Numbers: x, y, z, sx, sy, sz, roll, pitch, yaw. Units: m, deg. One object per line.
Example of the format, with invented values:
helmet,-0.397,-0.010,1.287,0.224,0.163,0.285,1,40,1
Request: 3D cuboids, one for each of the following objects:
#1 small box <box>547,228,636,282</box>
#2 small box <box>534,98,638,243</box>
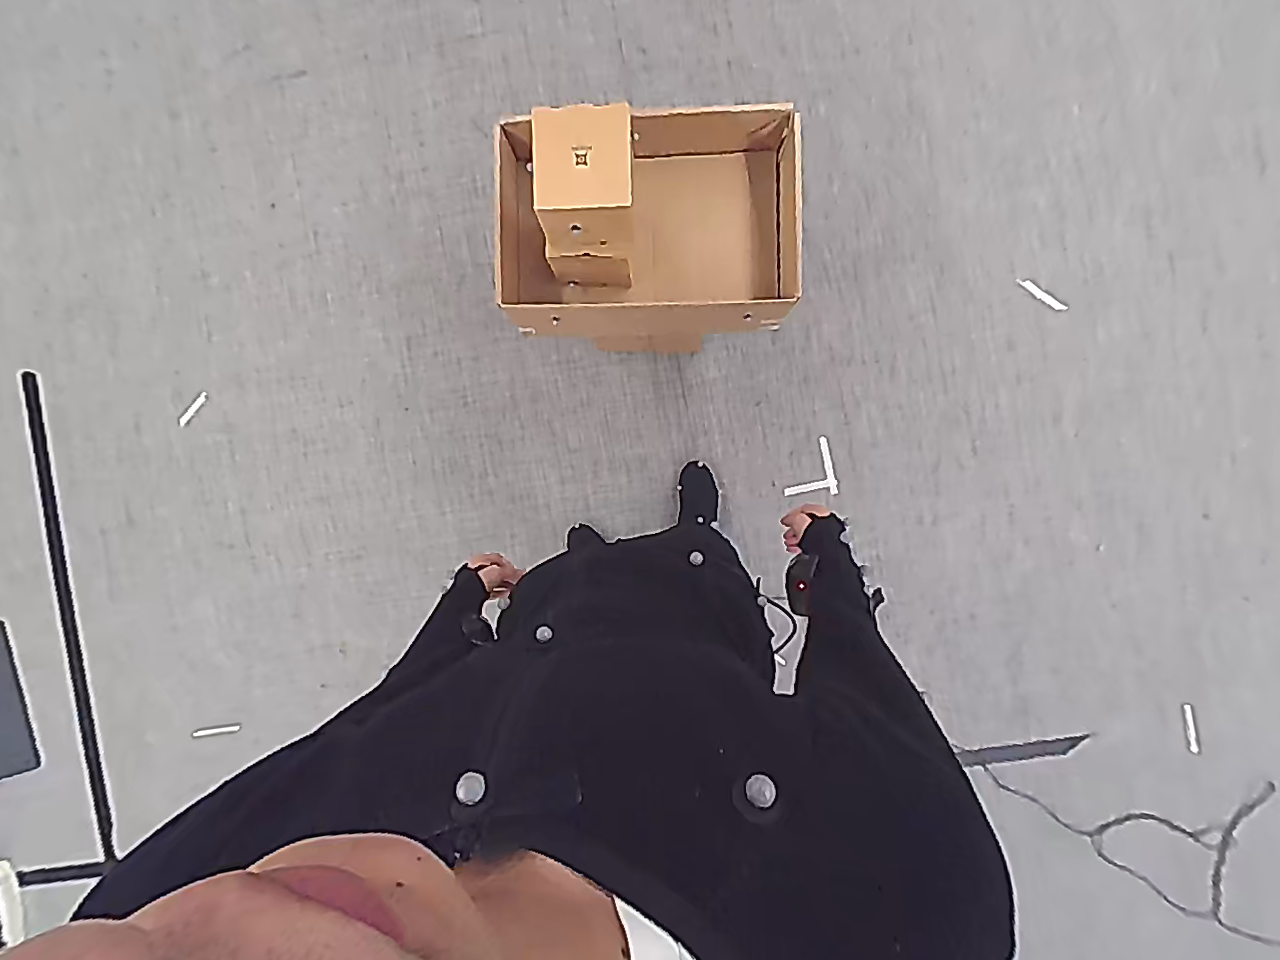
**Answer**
small box,-0.094,-0.530,1.136,0.168,0.176,0.179,2,89,2
small box,-0.091,-0.542,0.973,0.168,0.176,0.179,-1,89,2
